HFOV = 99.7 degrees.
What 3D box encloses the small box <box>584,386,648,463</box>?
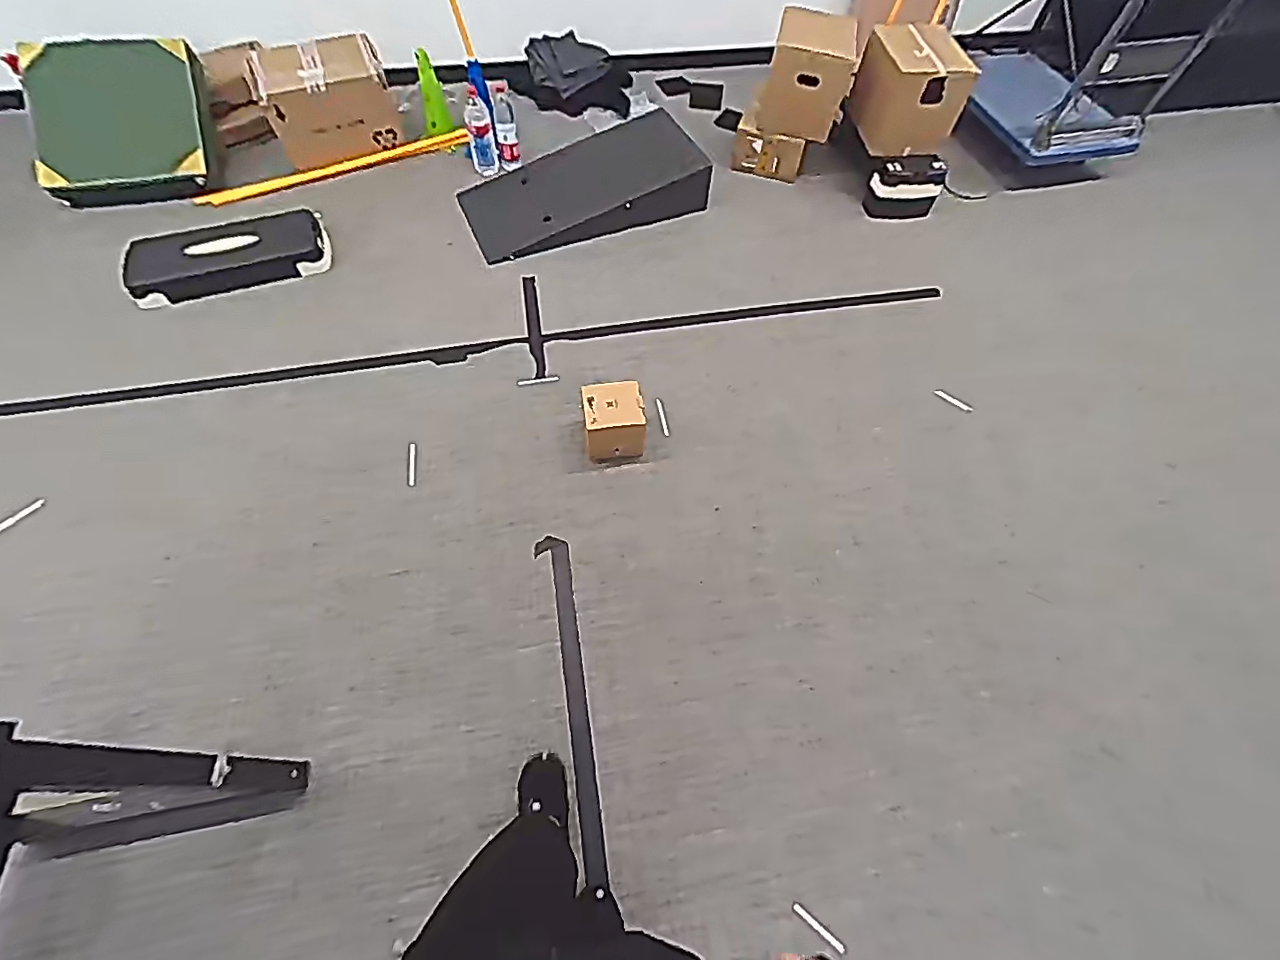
[{"bbox_3d":[-0.079,-0.169,1.665,0.179,0.176,0.168,-6,60,-7],"label":"small box"}]
